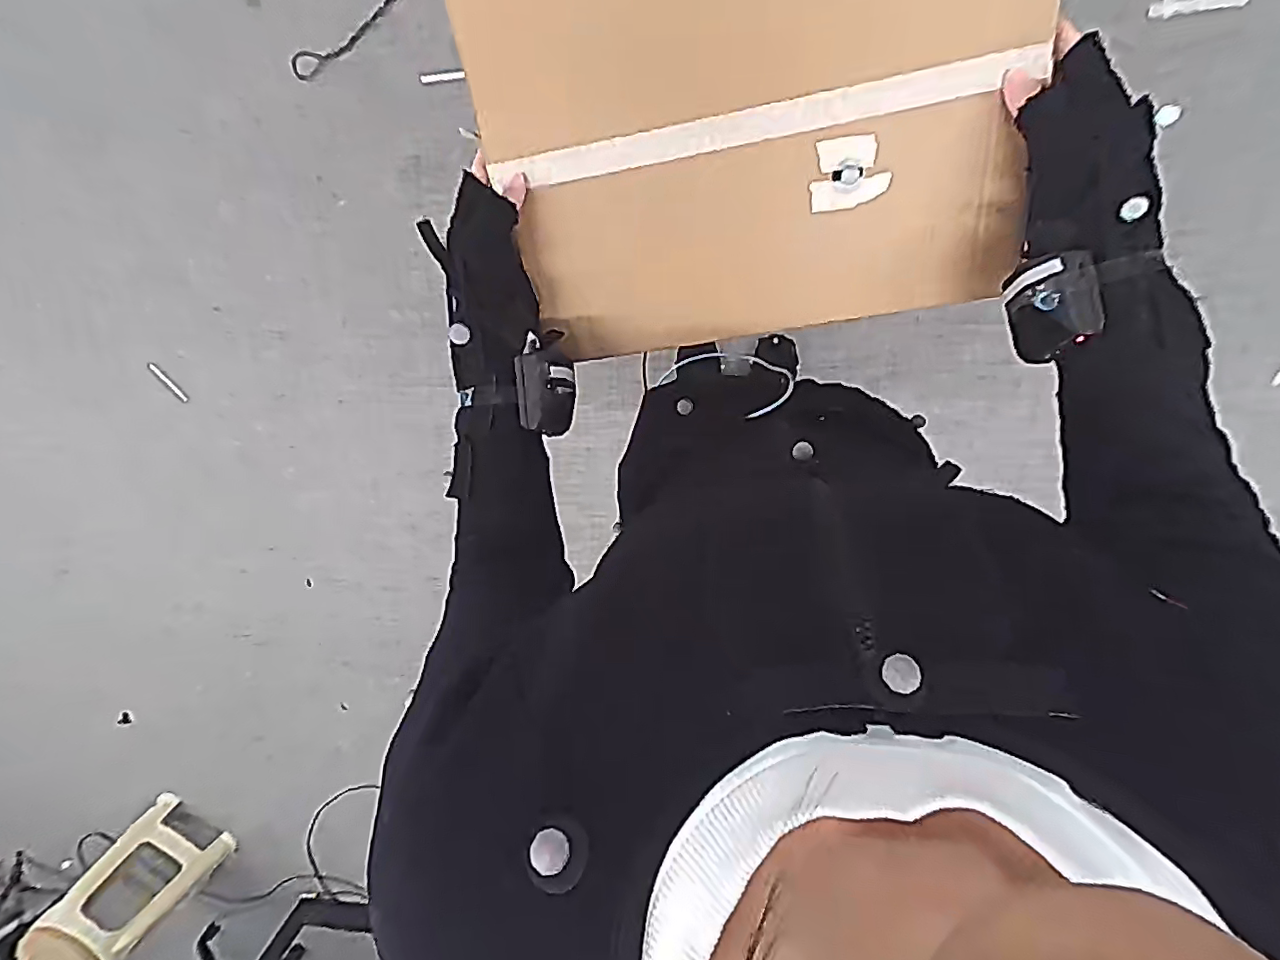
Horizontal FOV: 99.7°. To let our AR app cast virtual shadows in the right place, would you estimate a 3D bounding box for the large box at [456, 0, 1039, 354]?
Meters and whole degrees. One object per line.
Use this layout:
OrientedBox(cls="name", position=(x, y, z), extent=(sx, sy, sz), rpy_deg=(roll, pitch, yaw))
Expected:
OrientedBox(cls="large box", position=(0.088, -0.348, 0.540), extent=(0.408, 0.320, 0.320), rpy_deg=(-8, 119, 7))
